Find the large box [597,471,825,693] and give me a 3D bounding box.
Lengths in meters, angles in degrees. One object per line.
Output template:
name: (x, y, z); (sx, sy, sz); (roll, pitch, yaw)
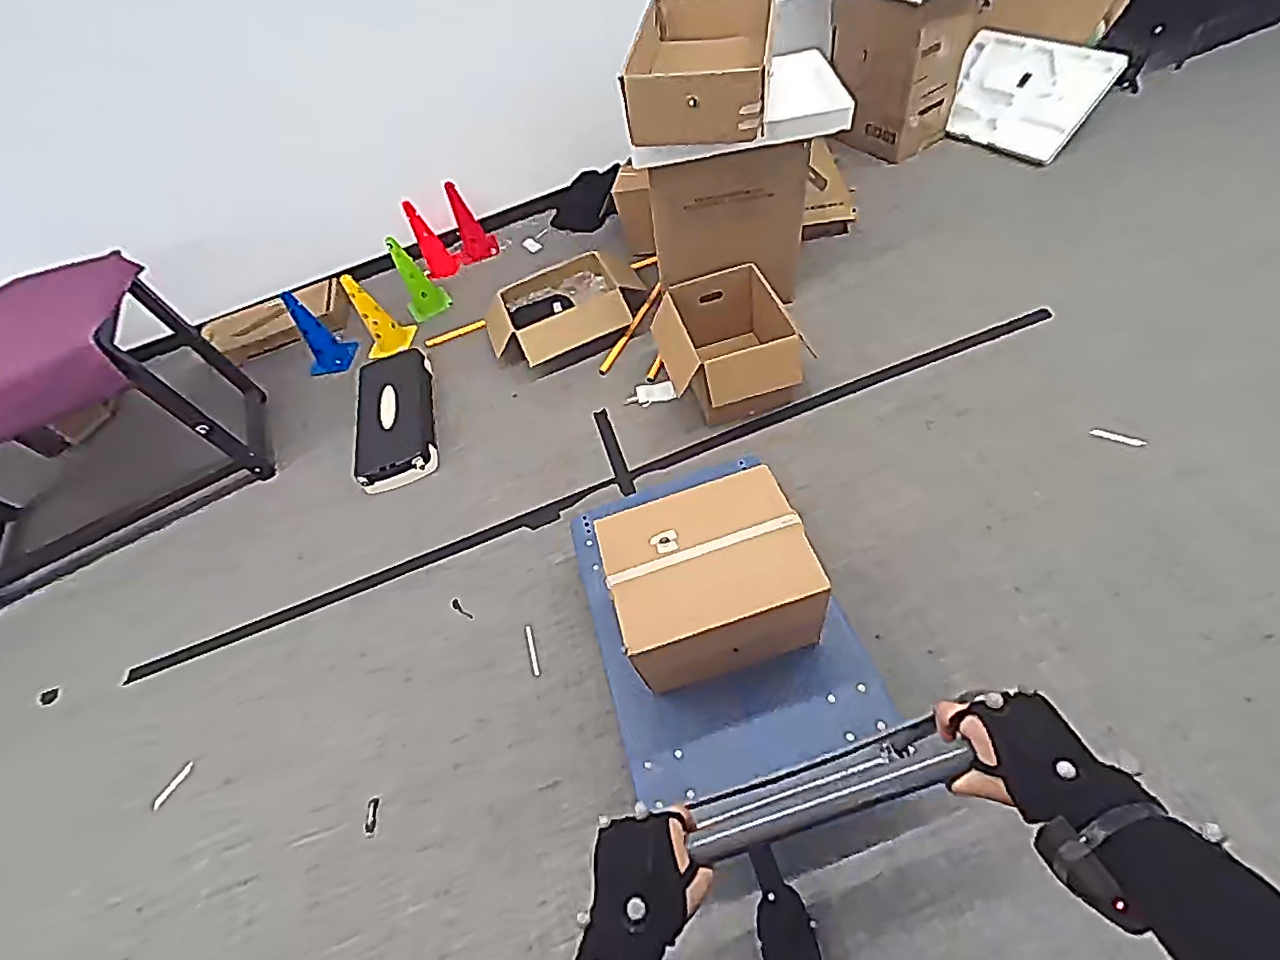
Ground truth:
large box: (0.159, 0.242, 1.237); (0.408, 0.320, 0.320); (-19, 53, 0)
